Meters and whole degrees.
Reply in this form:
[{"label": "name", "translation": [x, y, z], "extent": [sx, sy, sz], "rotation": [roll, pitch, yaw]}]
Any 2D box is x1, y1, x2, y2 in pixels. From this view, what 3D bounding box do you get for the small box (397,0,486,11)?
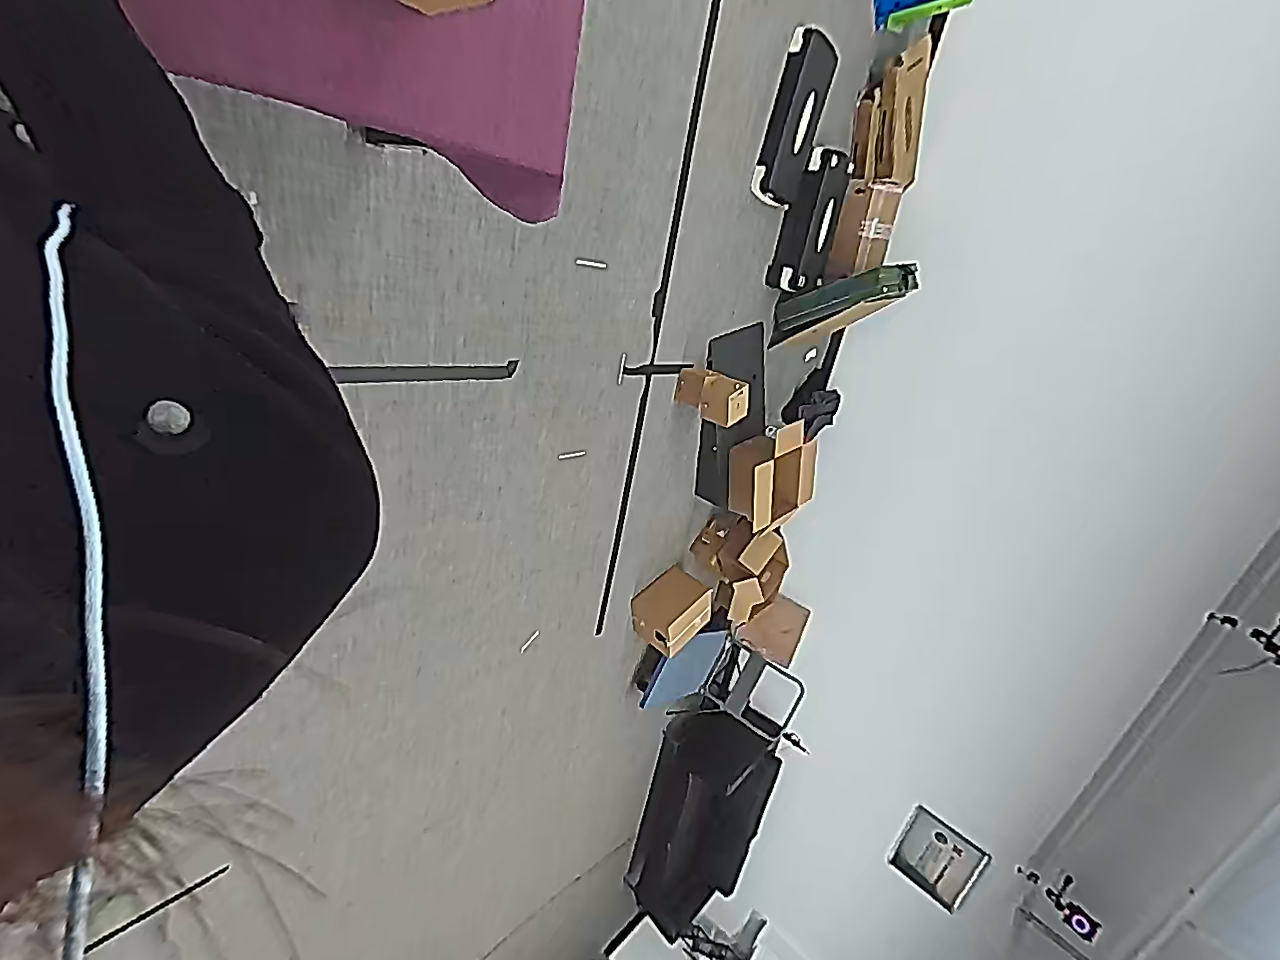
[{"label": "small box", "translation": [-0.283, -0.683, 0.622], "extent": [0.168, 0.176, 0.179], "rotation": [-15, 124, -47]}]
